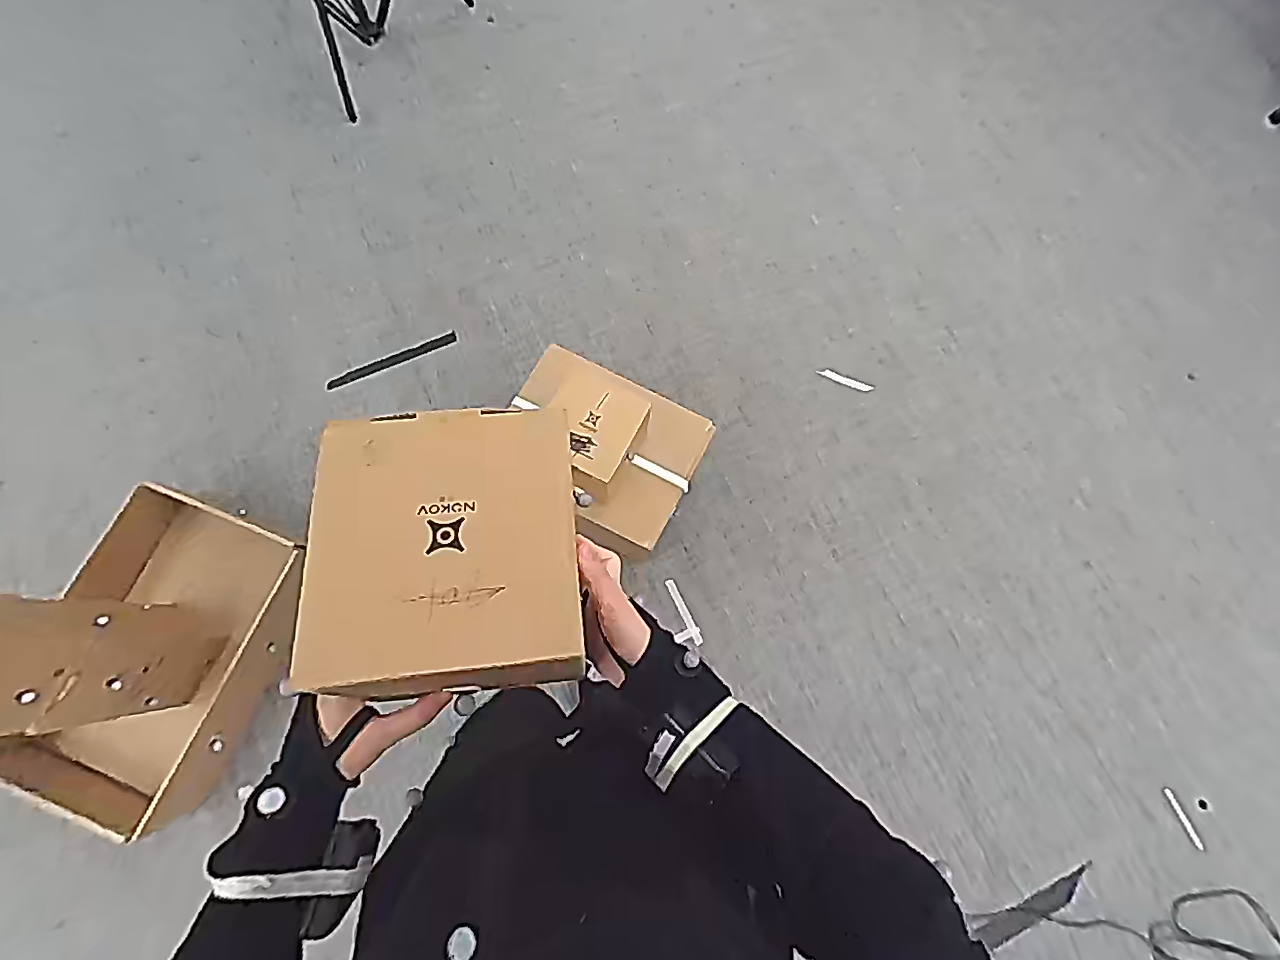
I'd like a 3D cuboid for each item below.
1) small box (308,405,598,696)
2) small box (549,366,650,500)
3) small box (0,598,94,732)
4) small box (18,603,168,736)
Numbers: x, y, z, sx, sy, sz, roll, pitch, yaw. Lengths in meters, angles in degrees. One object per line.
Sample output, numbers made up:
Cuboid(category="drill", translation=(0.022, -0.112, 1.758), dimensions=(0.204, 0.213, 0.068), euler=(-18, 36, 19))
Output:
Cuboid(category="small box", translation=(-0.125, 0.062, 0.420), dimensions=(0.168, 0.176, 0.179), euler=(-5, 67, -8))
Cuboid(category="small box", translation=(-0.094, -0.081, 1.042), dimensions=(0.168, 0.176, 0.179), euler=(27, 76, 3))
Cuboid(category="small box", translation=(-1.039, 0.286, 0.836), dimensions=(0.179, 0.176, 0.168), euler=(25, 75, 4))
Cuboid(category="small box", translation=(-1.042, 0.336, 0.992), dimensions=(0.179, 0.176, 0.168), euler=(26, 75, 4))
